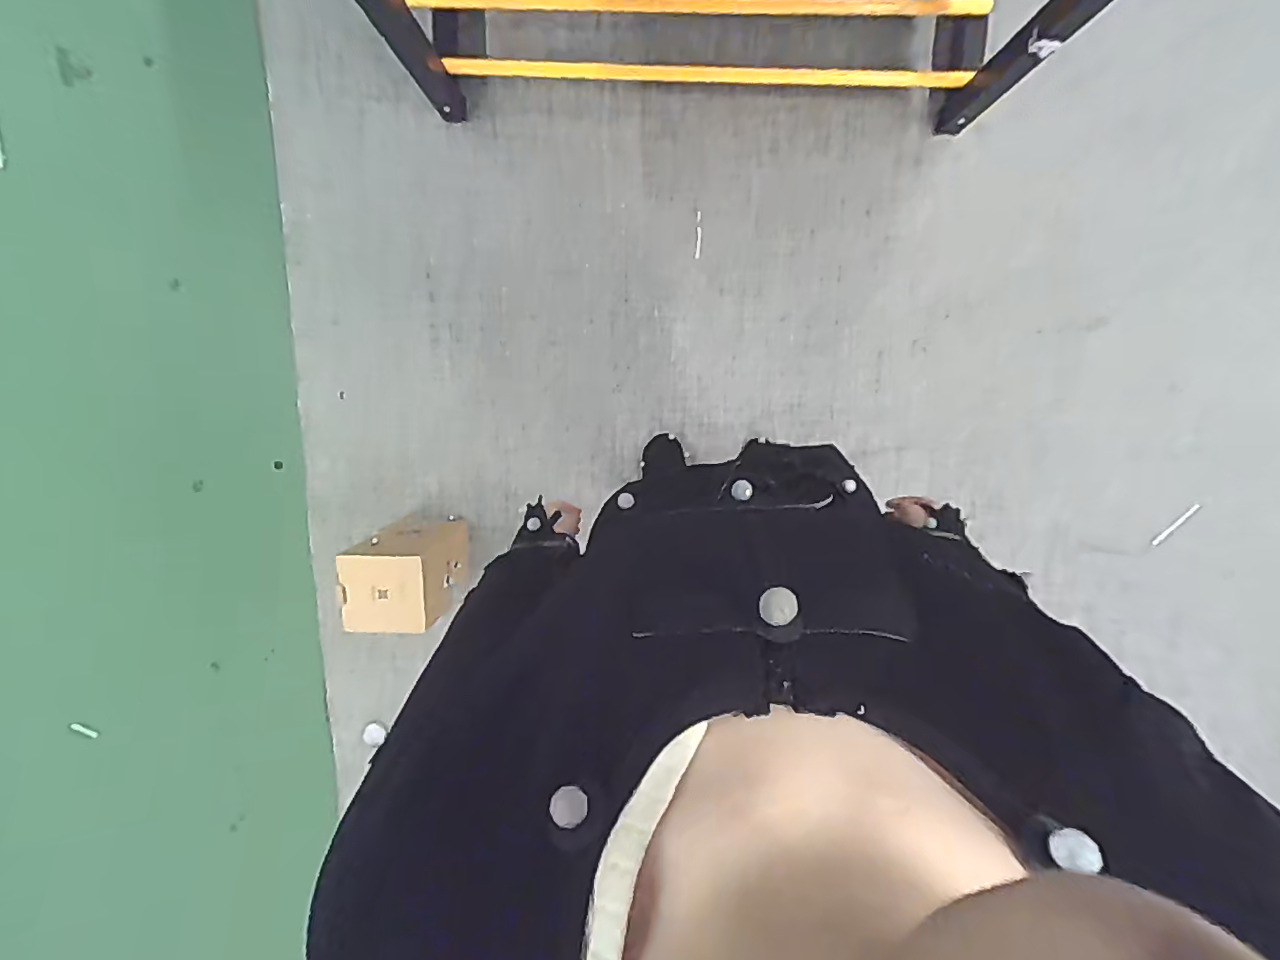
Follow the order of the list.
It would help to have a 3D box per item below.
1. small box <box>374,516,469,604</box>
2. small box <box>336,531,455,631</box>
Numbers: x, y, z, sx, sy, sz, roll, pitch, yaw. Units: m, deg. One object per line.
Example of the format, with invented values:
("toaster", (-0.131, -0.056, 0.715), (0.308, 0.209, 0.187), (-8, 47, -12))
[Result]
("small box", (-0.527, 0.190, 1.320), (0.168, 0.176, 0.179), (3, 100, 1))
("small box", (-0.515, 0.211, 1.159), (0.179, 0.176, 0.168), (0, 100, 0))
